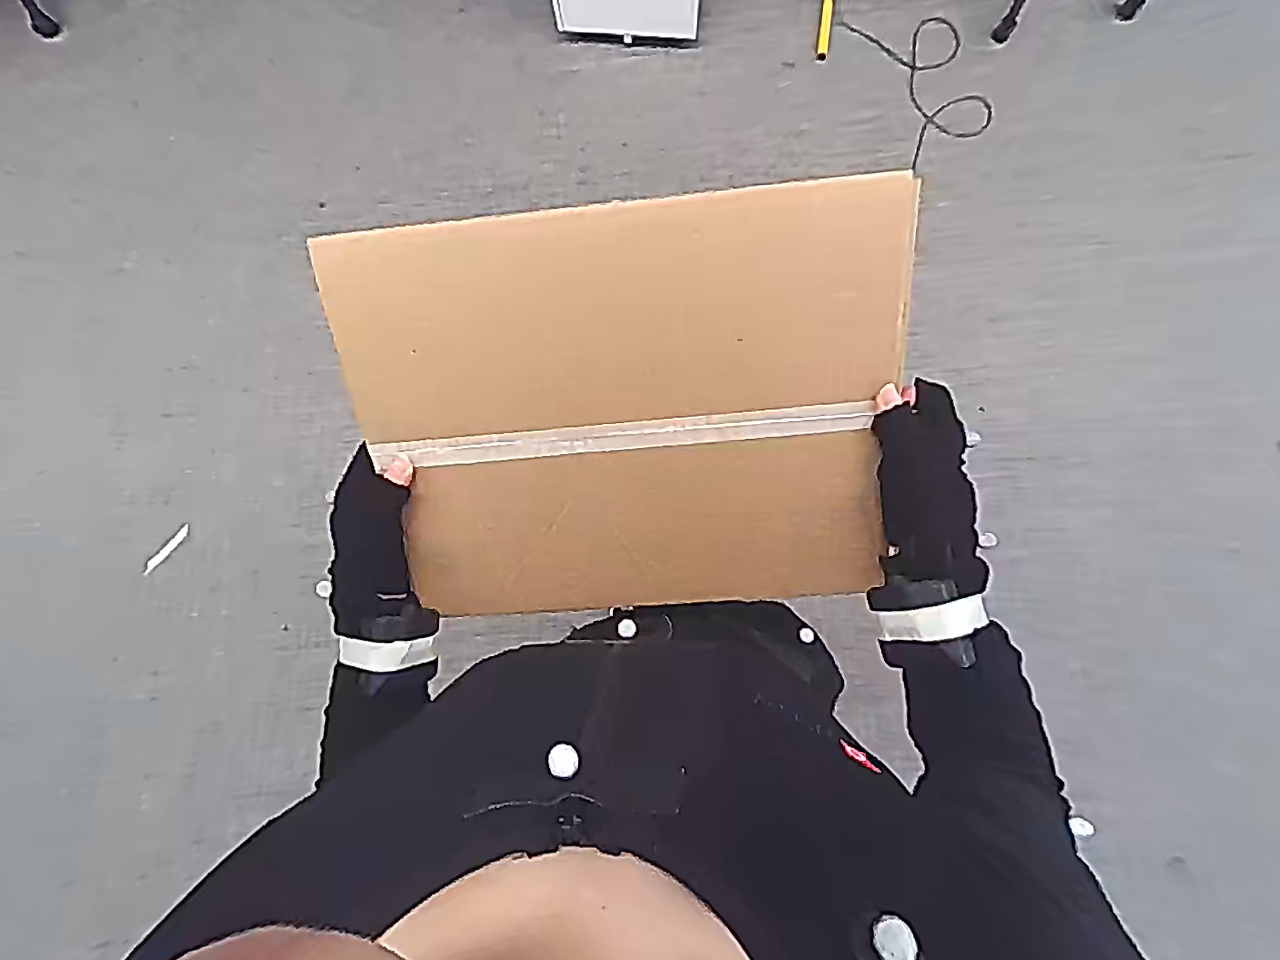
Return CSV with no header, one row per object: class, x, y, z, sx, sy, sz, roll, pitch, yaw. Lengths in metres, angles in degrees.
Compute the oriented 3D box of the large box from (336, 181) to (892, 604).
large box,-0.002,-0.098,0.568,0.408,0.320,0.320,-4,112,5
